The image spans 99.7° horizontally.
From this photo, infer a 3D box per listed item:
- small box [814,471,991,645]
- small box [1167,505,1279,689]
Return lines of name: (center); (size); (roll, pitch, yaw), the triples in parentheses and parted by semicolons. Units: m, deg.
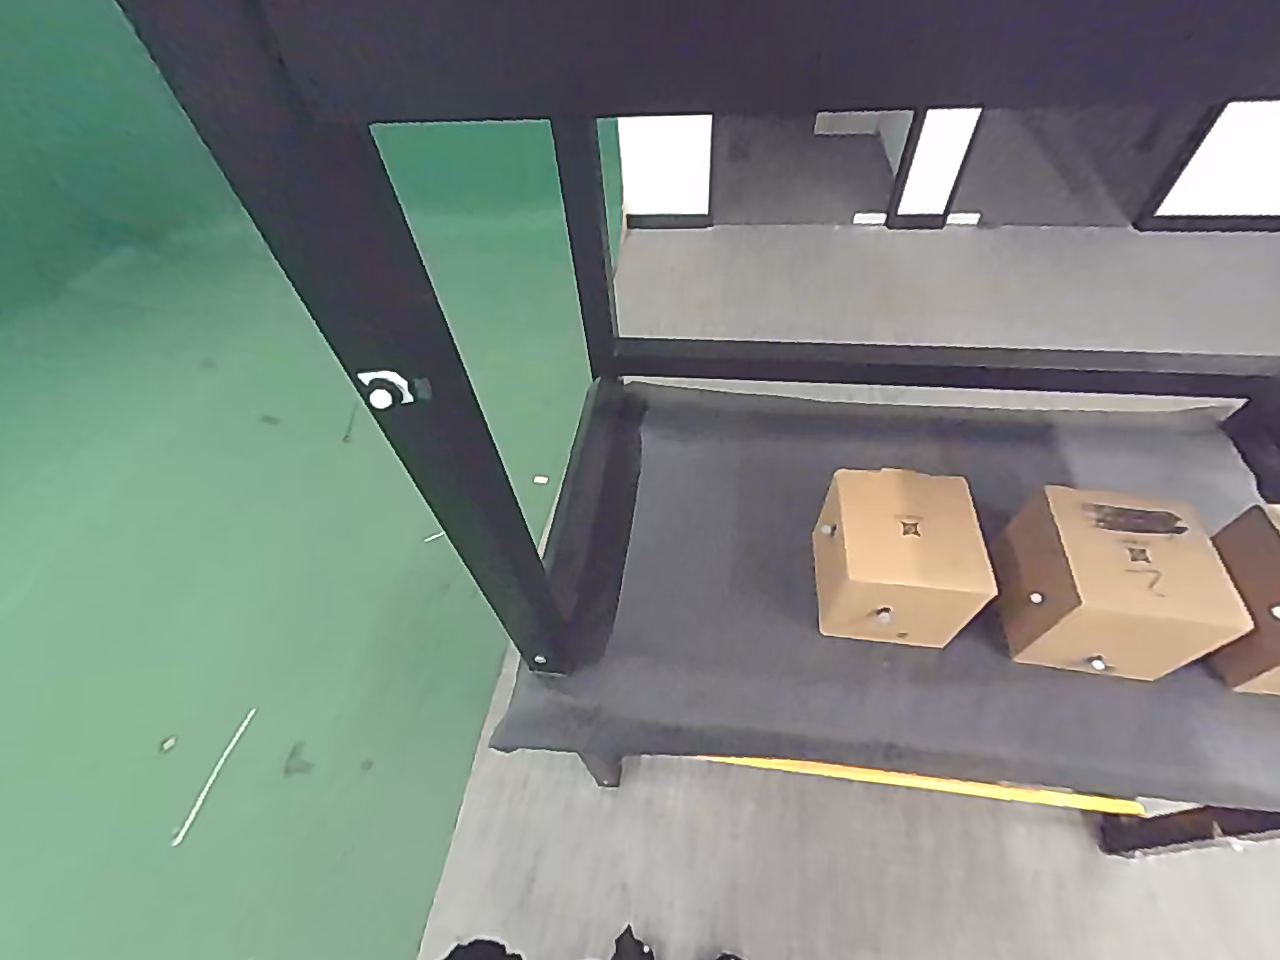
small box: (0.341, 0.110, 0.743); (0.168, 0.176, 0.179); (4, 51, 8)
small box: (0.826, 0.153, 0.664); (0.168, 0.176, 0.179); (4, 50, 7)
